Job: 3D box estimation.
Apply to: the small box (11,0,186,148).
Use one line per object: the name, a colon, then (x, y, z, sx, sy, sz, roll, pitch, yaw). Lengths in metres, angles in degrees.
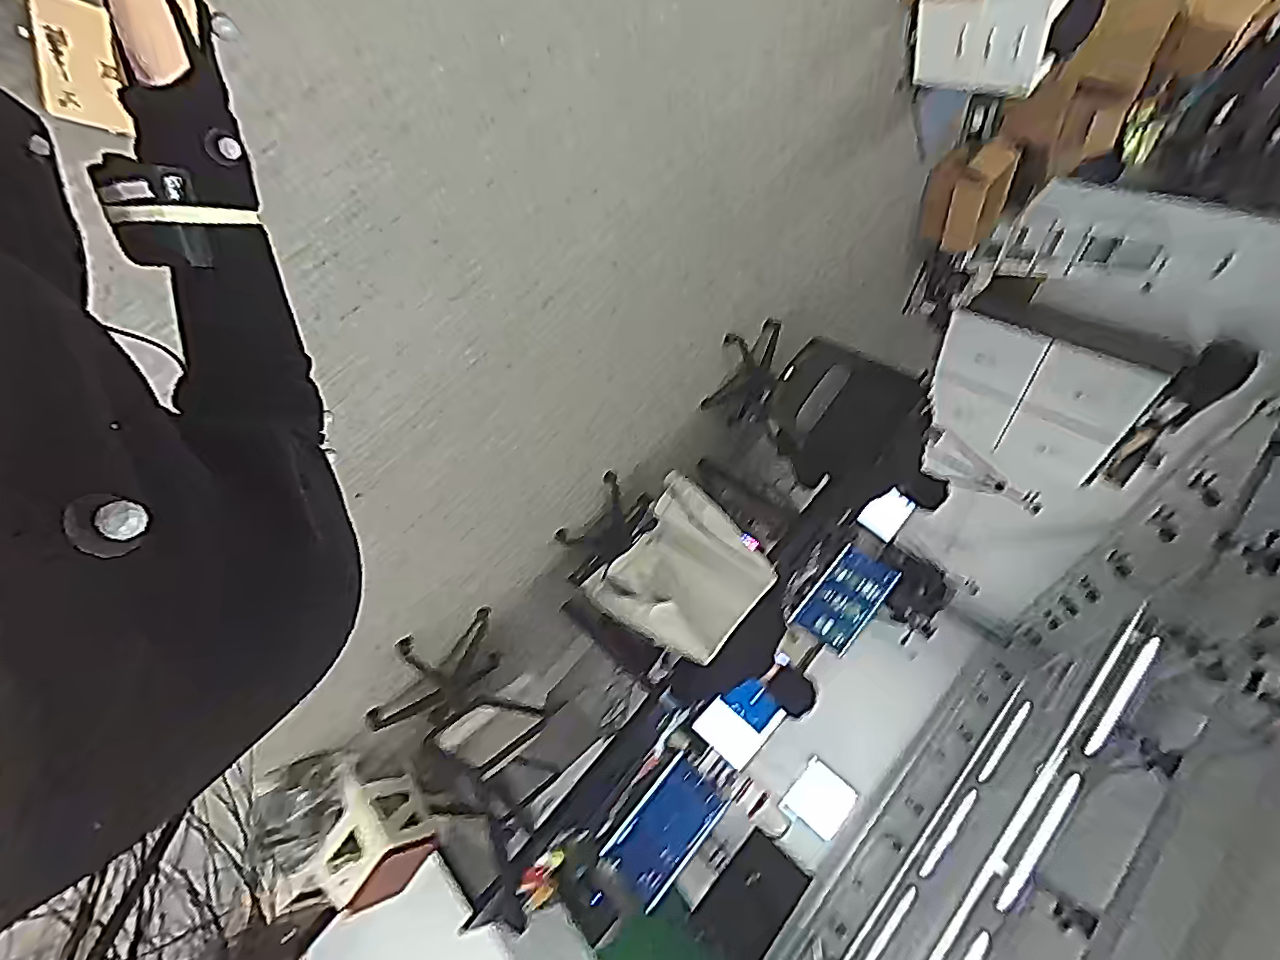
small box: (-0.887, -0.681, 0.892, 0.179, 0.176, 0.168, -13, 130, -49)
